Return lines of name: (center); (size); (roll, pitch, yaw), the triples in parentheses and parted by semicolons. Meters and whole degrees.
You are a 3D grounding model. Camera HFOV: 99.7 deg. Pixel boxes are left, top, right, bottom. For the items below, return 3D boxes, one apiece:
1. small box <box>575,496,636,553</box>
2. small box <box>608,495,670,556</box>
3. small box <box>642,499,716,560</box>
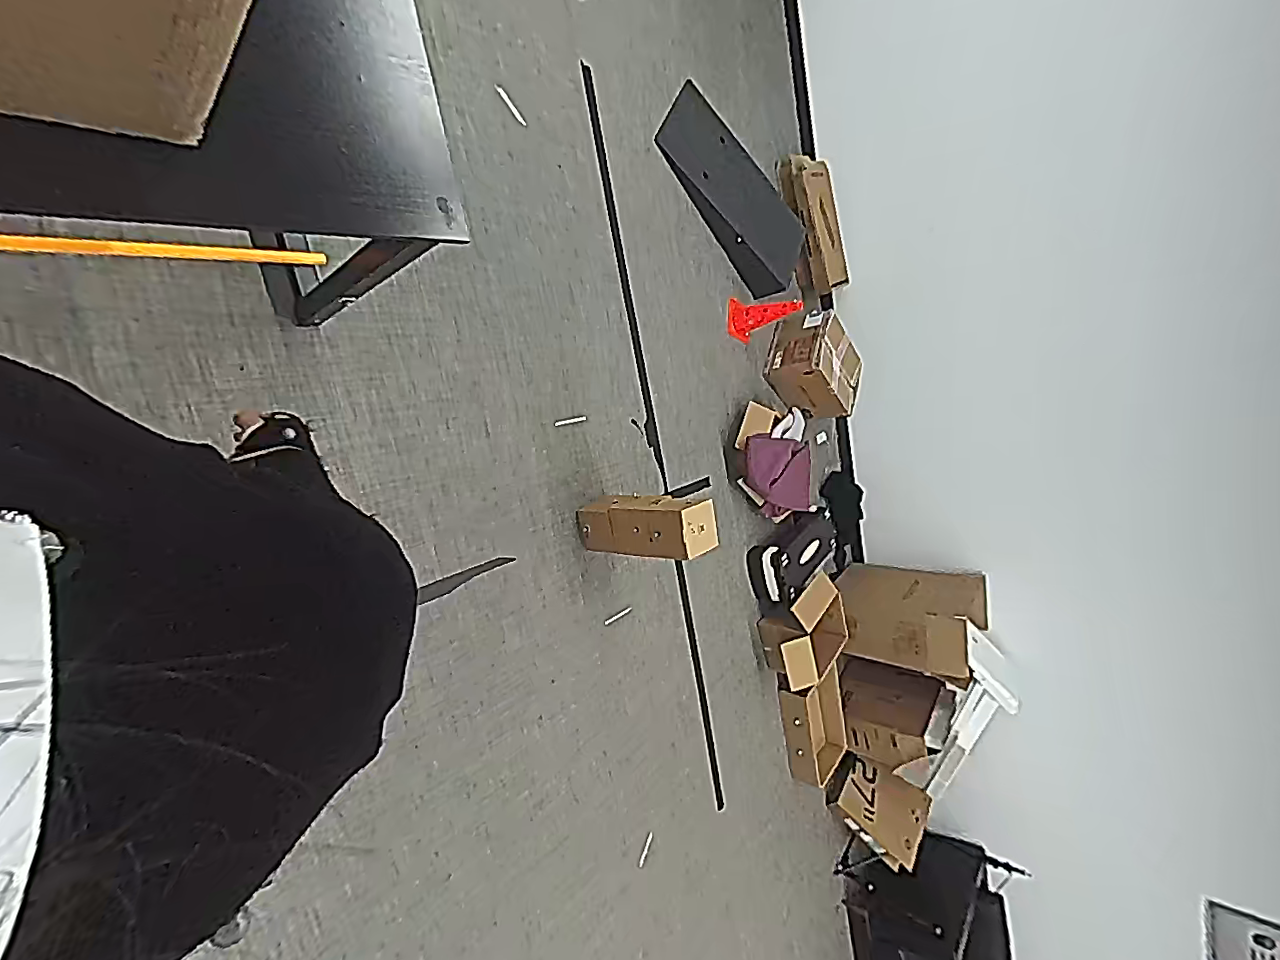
small box: (-0.115, 0.162, 2.034); (0.179, 0.176, 0.168); (-27, 108, -43)
small box: (0.007, 0.159, 1.923); (0.168, 0.176, 0.179); (-21, 105, -45)
small box: (0.130, 0.159, 1.813); (0.179, 0.176, 0.168); (-17, 101, -46)
